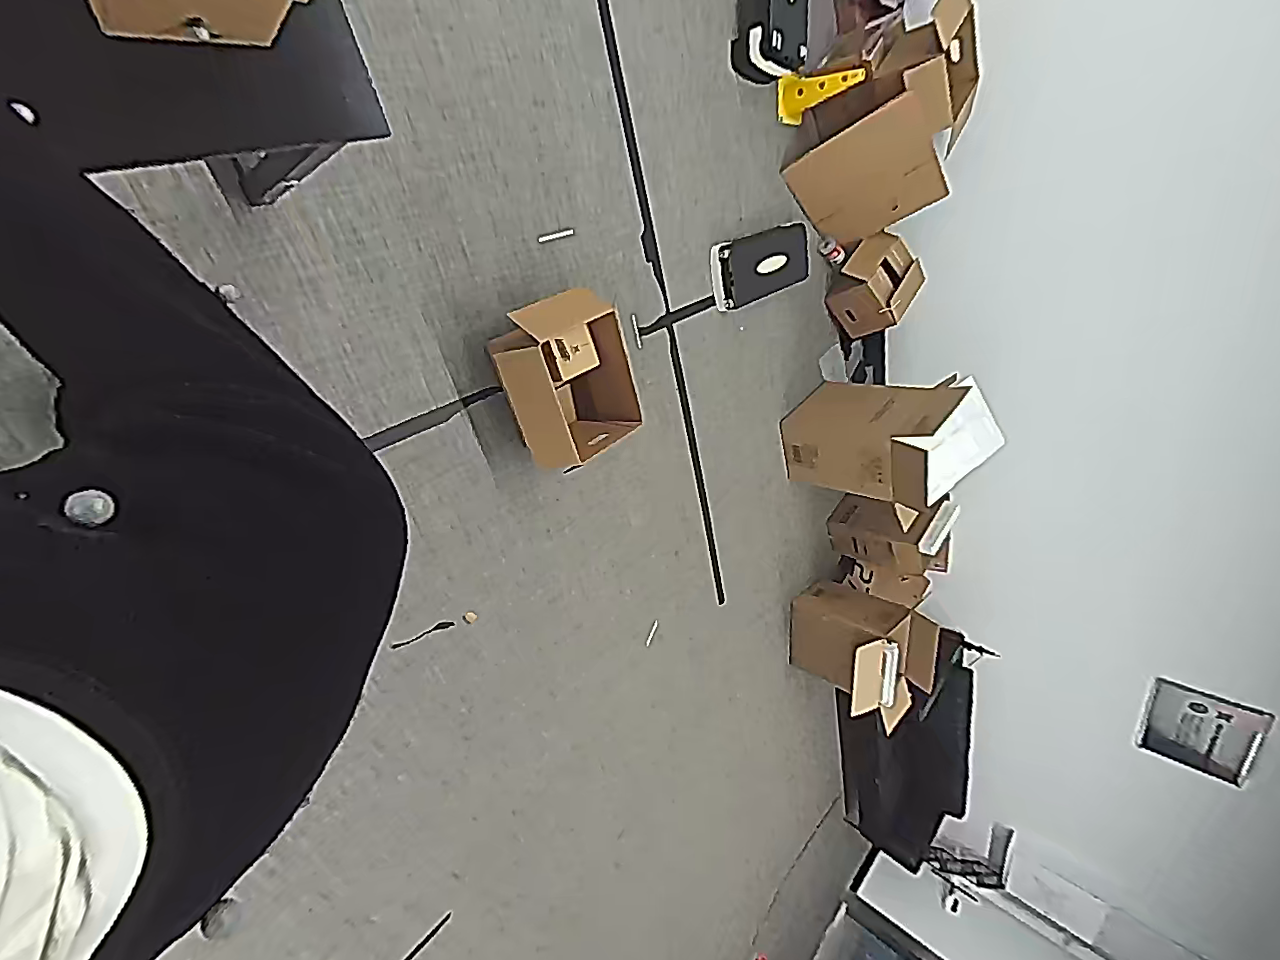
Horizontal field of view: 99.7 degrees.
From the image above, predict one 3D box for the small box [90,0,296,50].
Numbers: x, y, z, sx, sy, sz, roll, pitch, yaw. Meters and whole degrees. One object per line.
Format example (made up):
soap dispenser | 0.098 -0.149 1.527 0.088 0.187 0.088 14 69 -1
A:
small box | -0.484 -0.576 0.544 0.168 0.176 0.179 -29 120 -35
